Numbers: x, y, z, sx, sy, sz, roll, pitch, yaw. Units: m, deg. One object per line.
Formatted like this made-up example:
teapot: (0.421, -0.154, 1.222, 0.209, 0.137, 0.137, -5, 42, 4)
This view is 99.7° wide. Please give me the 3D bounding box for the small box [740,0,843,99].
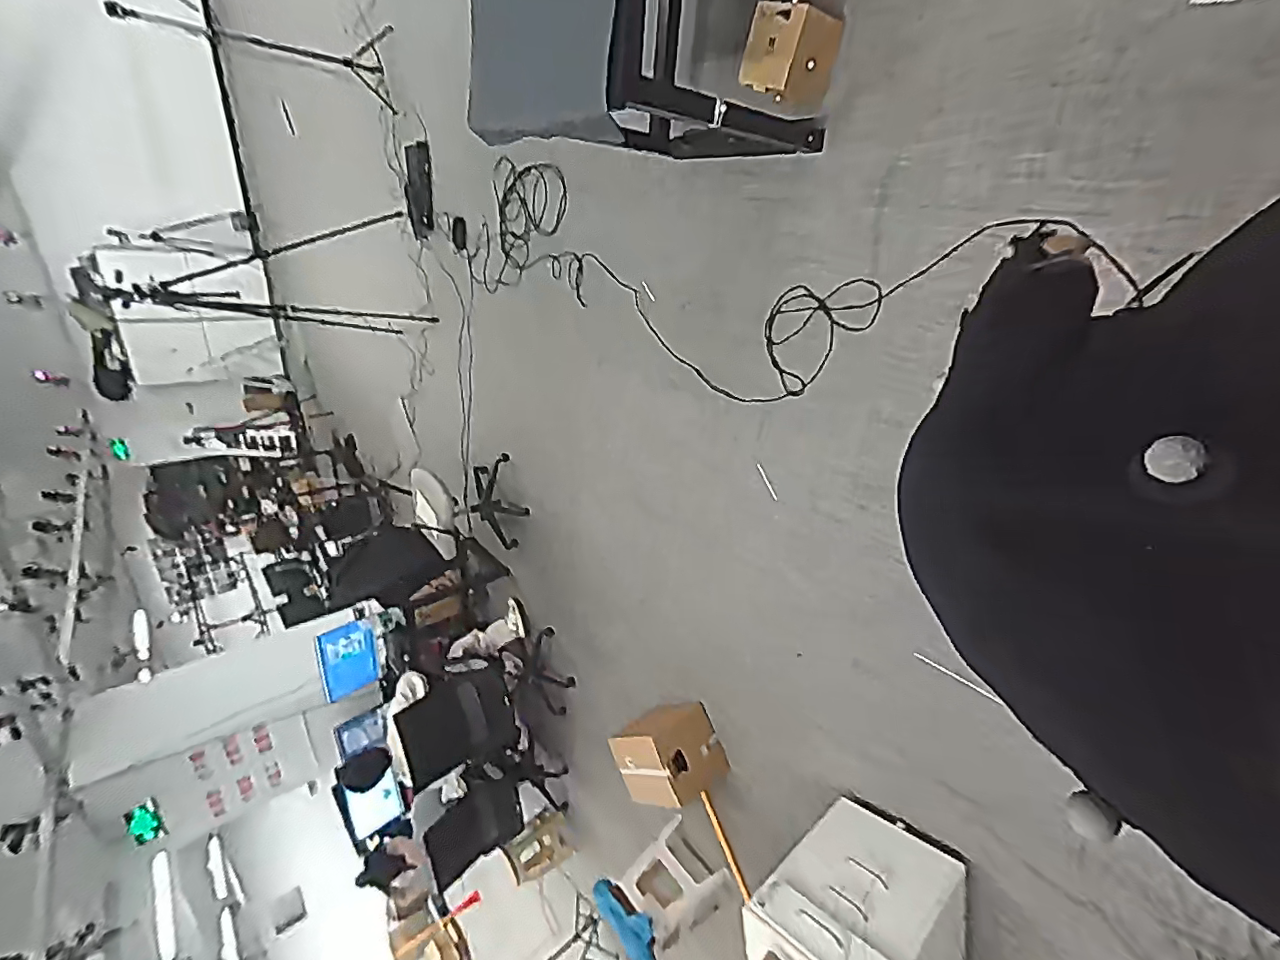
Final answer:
small box: (0.397, -1.123, 1.413, 0.168, 0.176, 0.179, 41, 133, 33)
